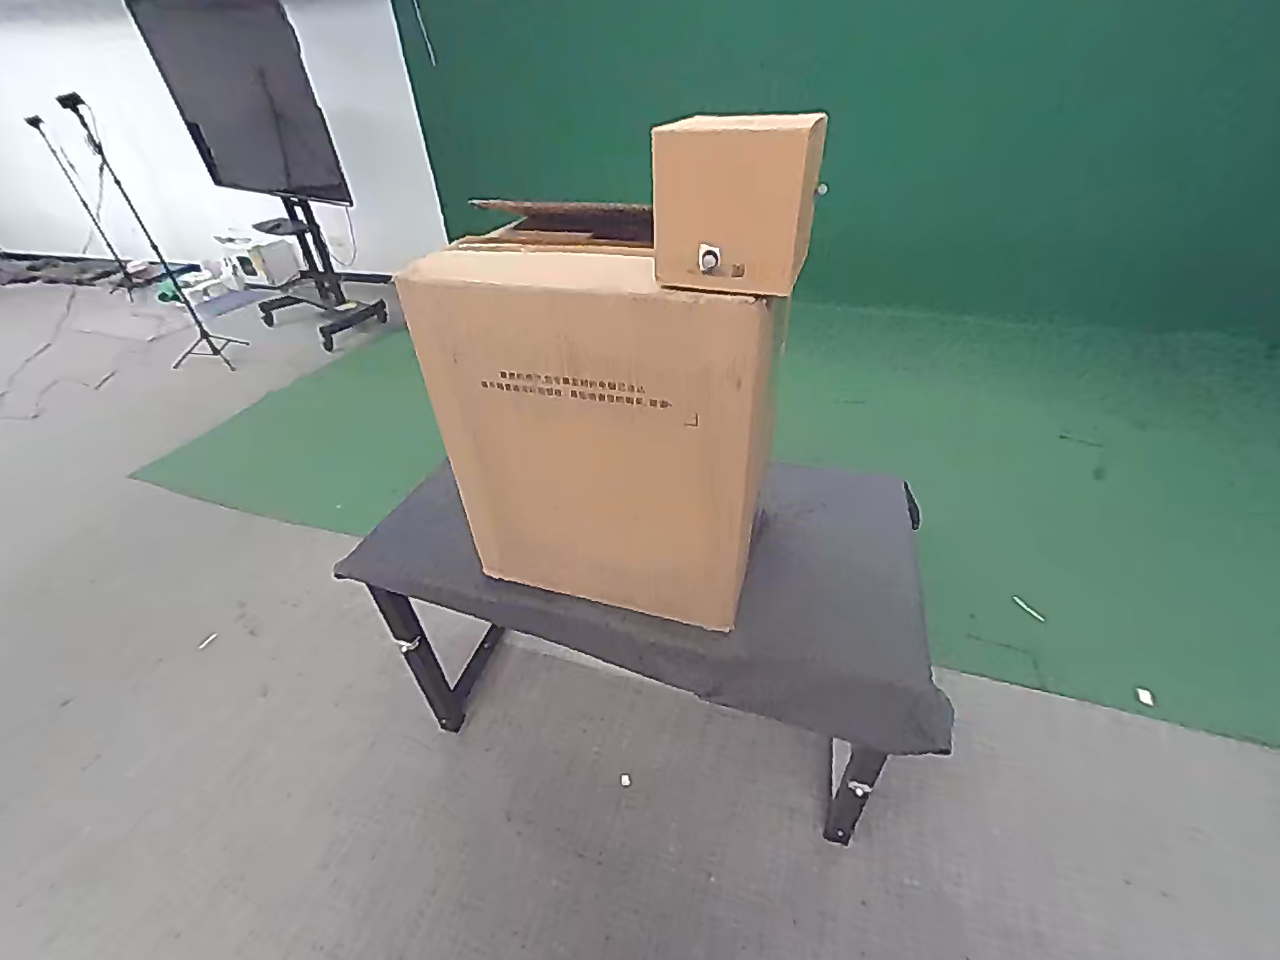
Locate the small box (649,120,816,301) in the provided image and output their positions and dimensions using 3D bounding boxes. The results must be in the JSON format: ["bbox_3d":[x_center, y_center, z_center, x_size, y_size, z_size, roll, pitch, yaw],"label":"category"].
[{"bbox_3d":[0.114,-0.337,0.668,0.168,0.176,0.179,9,39,16],"label":"small box"}]
